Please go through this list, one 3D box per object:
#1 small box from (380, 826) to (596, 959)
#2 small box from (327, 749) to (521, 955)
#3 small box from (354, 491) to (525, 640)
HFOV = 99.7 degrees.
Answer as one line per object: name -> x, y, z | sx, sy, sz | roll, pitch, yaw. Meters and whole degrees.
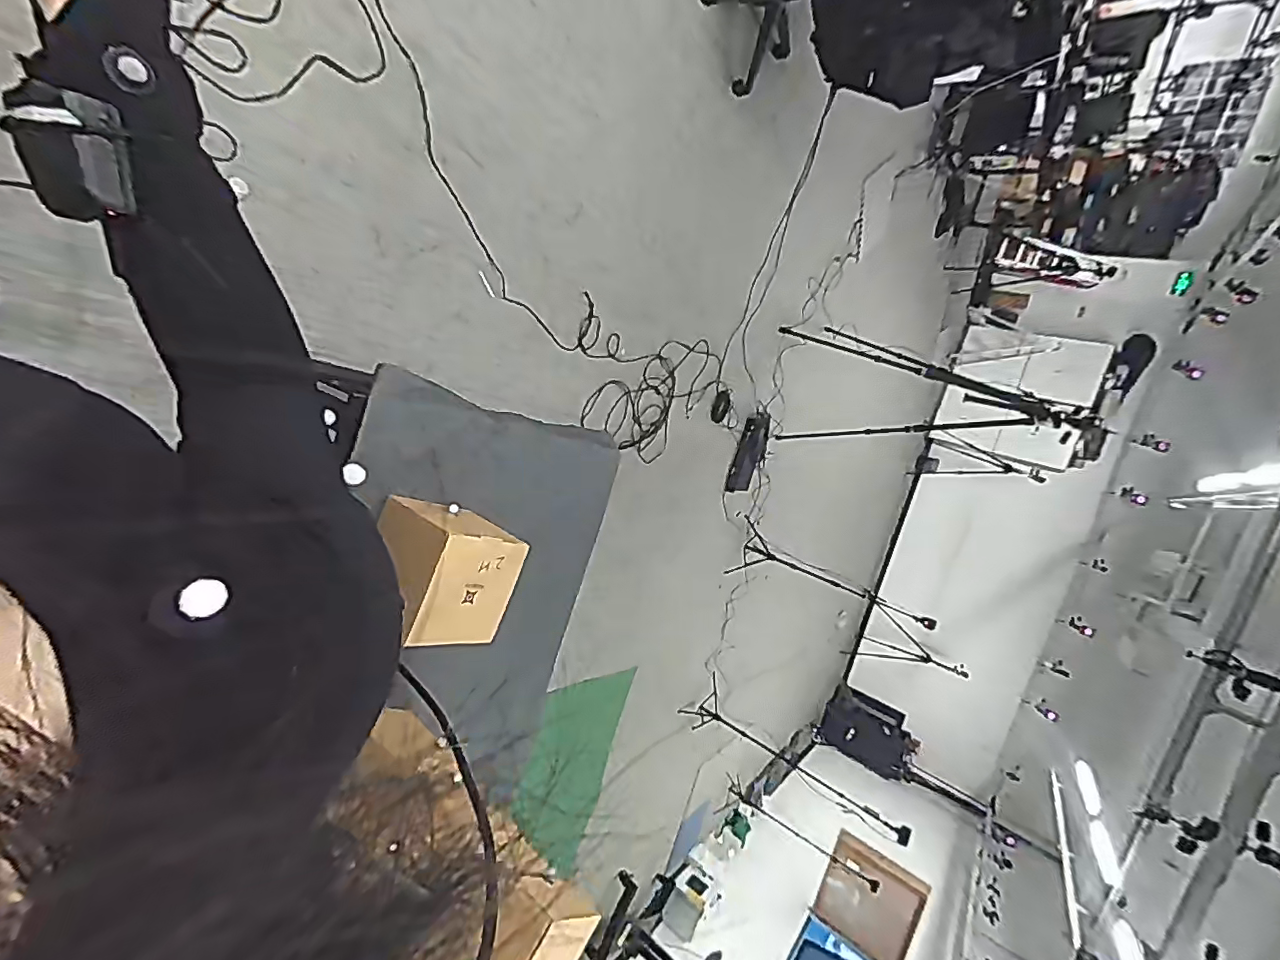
small box -> -0.192, 0.585, 0.698 | 0.179, 0.176, 0.168 | -54, 145, -20
small box -> -0.317, 0.533, 0.788 | 0.179, 0.176, 0.168 | -55, 145, -22
small box -> -0.322, 0.136, 0.861 | 0.168, 0.176, 0.179 | 22, 89, -56
